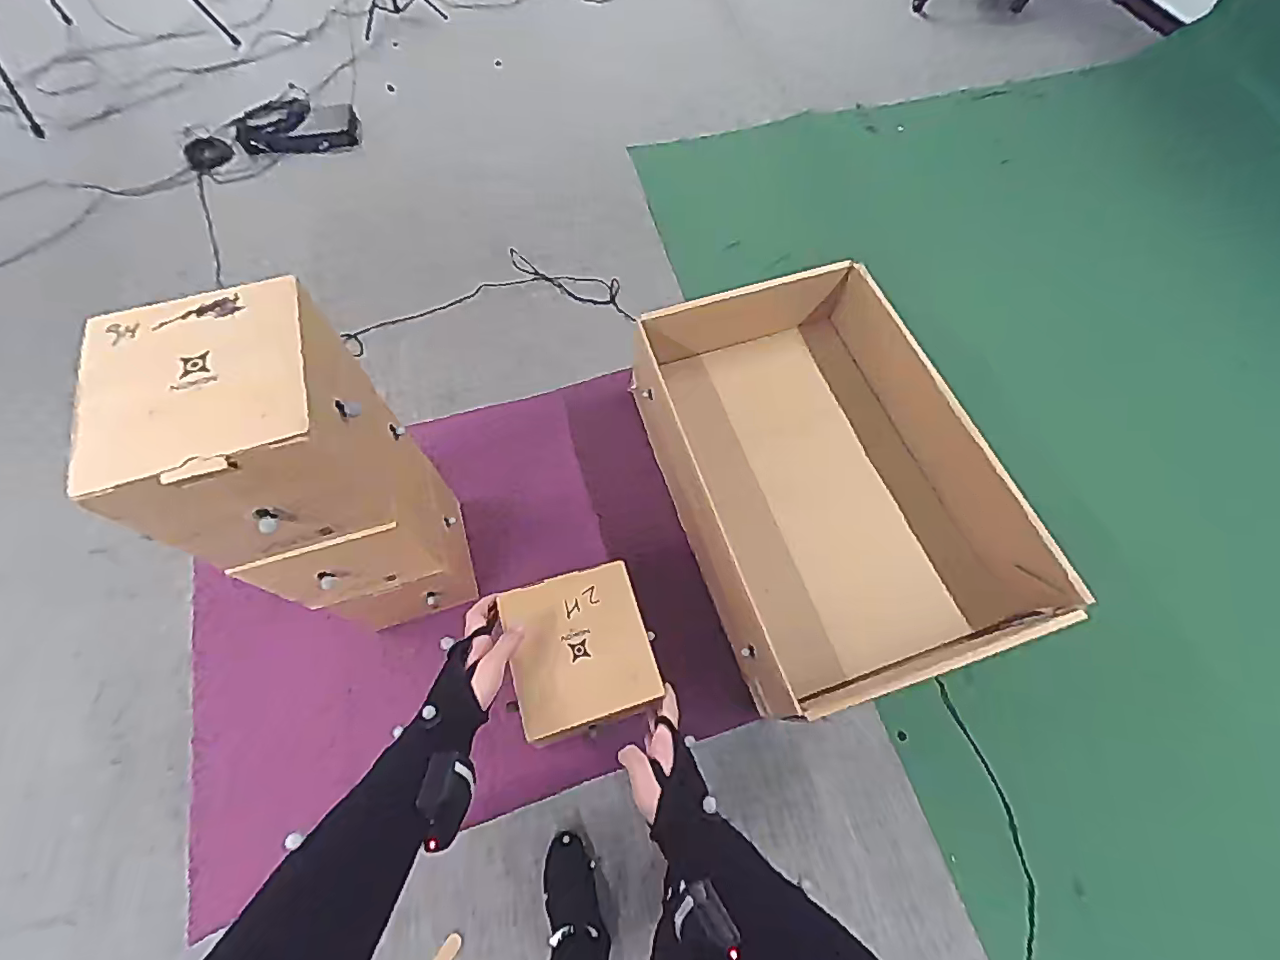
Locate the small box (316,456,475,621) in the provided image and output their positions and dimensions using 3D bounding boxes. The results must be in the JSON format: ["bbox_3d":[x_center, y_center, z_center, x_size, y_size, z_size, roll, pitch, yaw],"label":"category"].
[{"bbox_3d":[-0.353,0.095,0.790,0.168,0.176,0.179,-16,65,-9],"label":"small box"}]

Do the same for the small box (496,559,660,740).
[{"bbox_3d":[-0.083,0.230,0.717,0.168,0.176,0.179,-13,65,-13],"label":"small box"}]

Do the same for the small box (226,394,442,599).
[{"bbox_3d":[-0.351,0.030,0.642,0.168,0.176,0.179,-17,65,-9],"label":"small box"}]

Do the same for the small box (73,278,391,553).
[{"bbox_3d":[-0.349,-0.045,0.496,0.168,0.176,0.179,-17,66,-9],"label":"small box"}]
